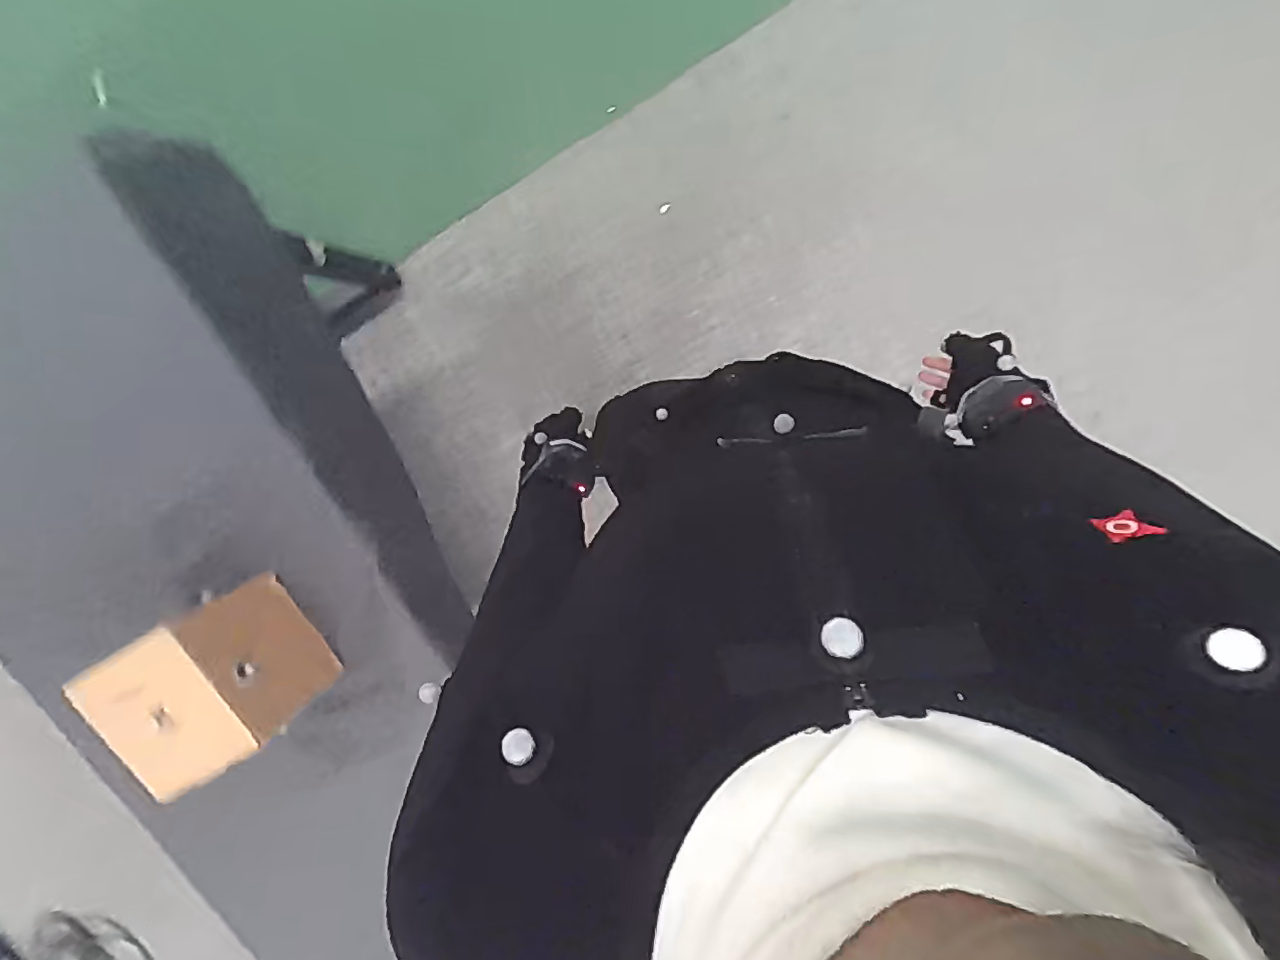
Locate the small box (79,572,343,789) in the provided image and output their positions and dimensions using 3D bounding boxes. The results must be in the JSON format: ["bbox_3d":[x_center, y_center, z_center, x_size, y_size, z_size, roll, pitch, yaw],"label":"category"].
[{"bbox_3d":[-0.541,0.251,0.712,0.168,0.176,0.179,-30,98,10],"label":"small box"}]
